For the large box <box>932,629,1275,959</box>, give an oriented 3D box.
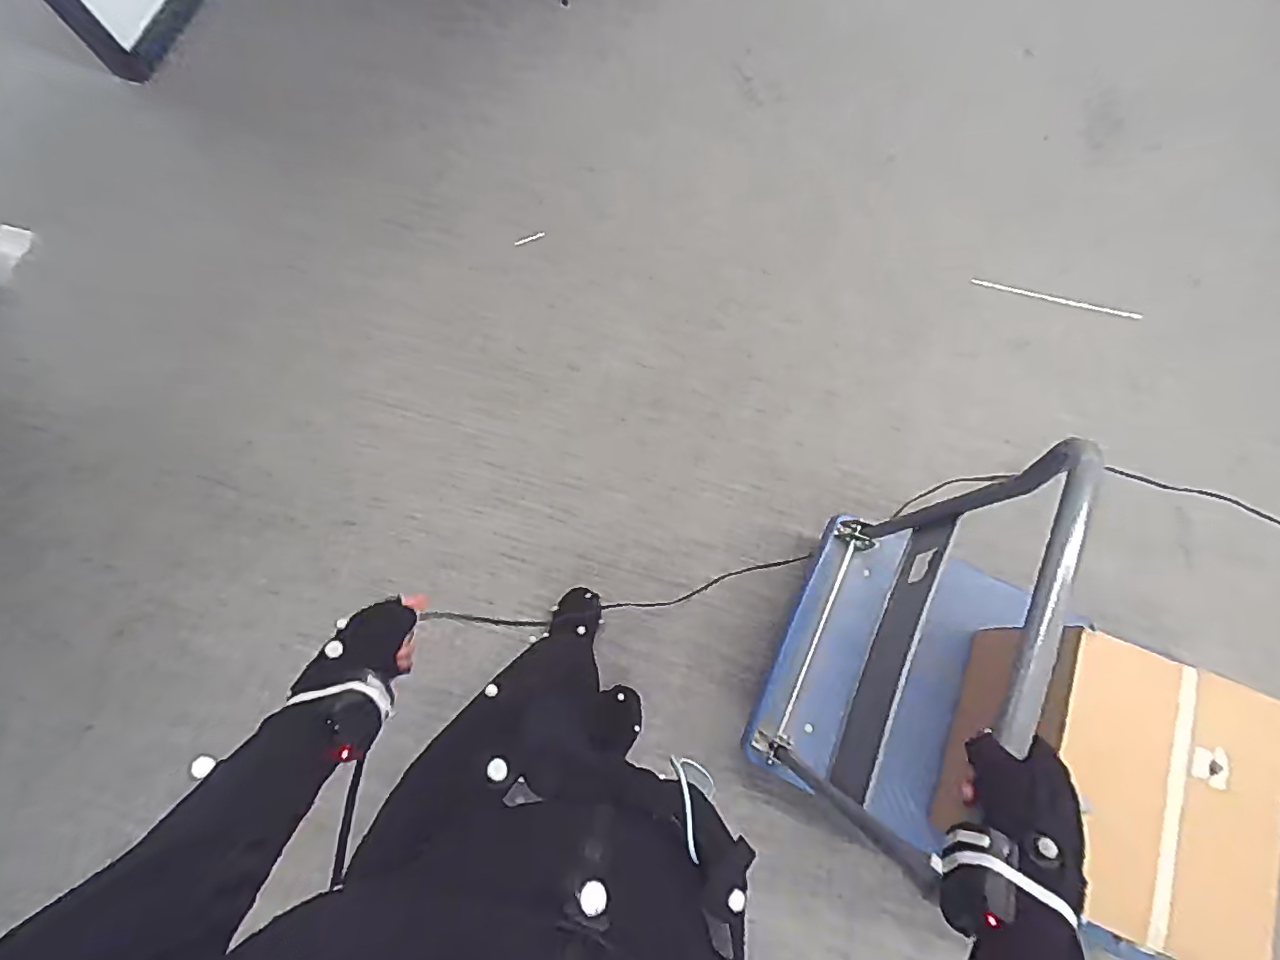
[{"bbox_3d":[0.766,0.513,0.937,0.320,0.320,0.408,21,74,7],"label":"large box"}]
